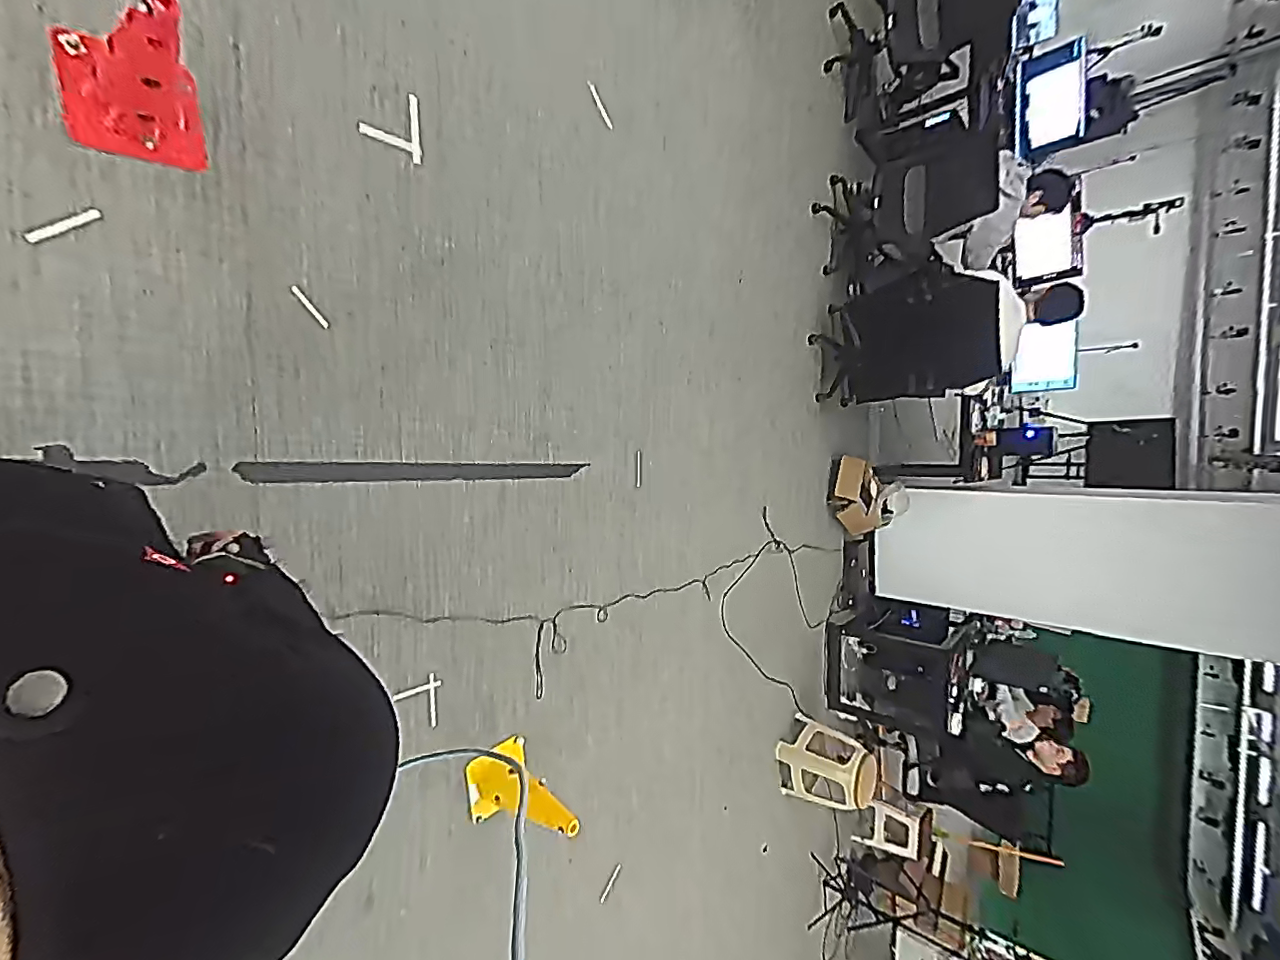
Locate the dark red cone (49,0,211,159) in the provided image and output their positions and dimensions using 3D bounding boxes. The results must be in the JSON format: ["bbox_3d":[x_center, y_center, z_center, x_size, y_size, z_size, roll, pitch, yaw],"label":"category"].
[{"bbox_3d":[-0.800,-0.703,0.881,0.202,0.394,0.201,-14,103,-48],"label":"dark red cone"}]
